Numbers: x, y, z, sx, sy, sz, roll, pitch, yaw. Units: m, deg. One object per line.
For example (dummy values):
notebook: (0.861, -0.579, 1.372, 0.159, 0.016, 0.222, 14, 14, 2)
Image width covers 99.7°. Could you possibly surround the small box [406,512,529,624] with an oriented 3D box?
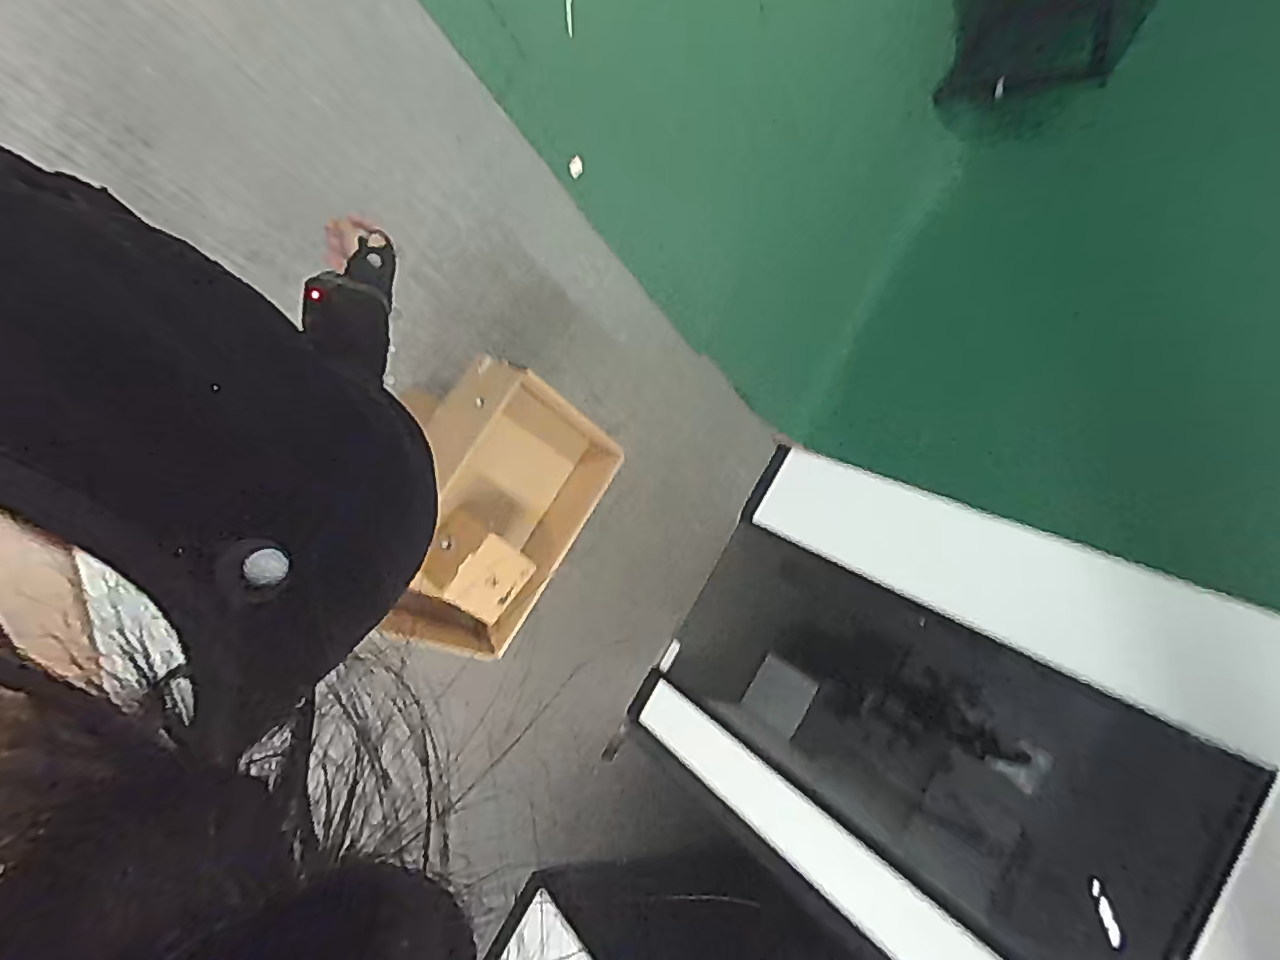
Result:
small box: (-0.397, 0.194, 1.242, 0.168, 0.176, 0.179, -52, 138, -14)
